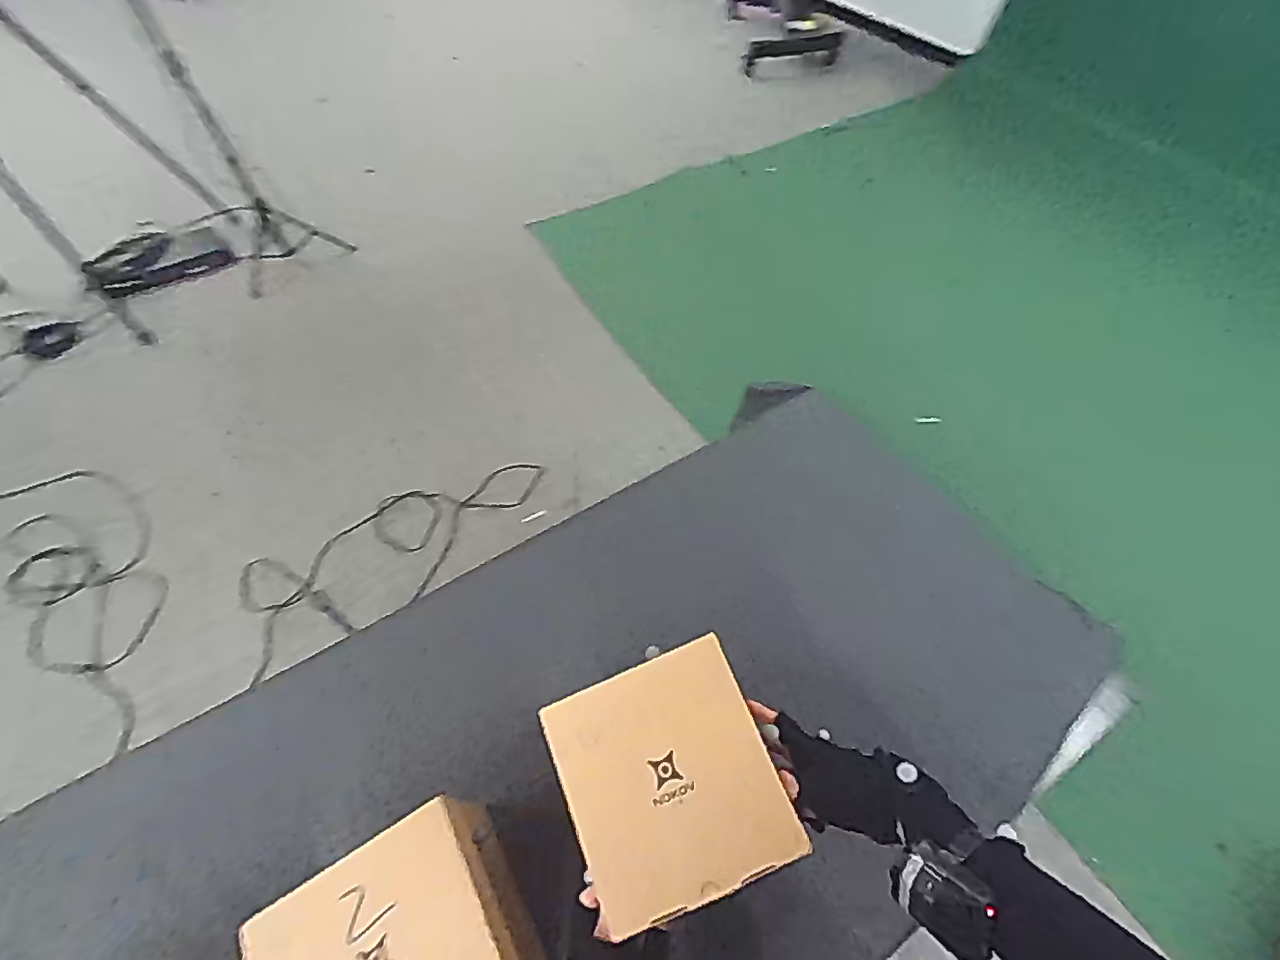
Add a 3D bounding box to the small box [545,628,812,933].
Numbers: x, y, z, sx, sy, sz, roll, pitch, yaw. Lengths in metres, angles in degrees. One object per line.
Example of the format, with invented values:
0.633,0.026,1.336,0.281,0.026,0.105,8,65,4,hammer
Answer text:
0.030,0.256,0.505,0.168,0.176,0.179,-23,72,-2,small box
